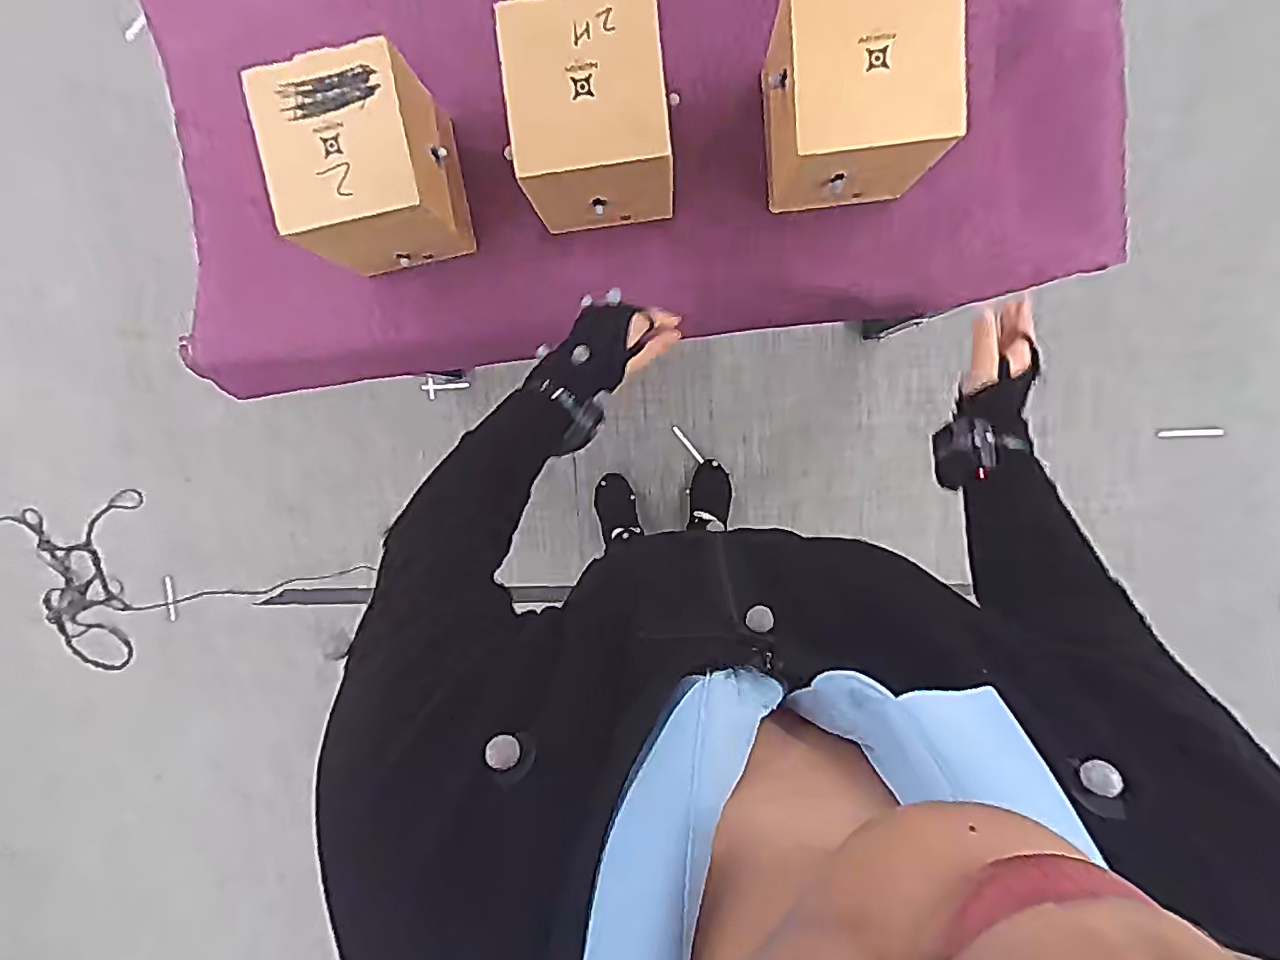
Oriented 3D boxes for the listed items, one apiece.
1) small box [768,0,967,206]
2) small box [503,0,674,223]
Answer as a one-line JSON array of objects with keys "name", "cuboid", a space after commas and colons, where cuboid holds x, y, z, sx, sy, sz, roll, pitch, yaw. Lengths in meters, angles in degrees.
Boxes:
[{"name": "small box", "cuboid": [0.243, -0.431, 0.613, 0.168, 0.176, 0.179, -4, 96, 5]}, {"name": "small box", "cuboid": [-0.048, -0.419, 0.633, 0.168, 0.176, 0.179, -5, 95, 3]}]
